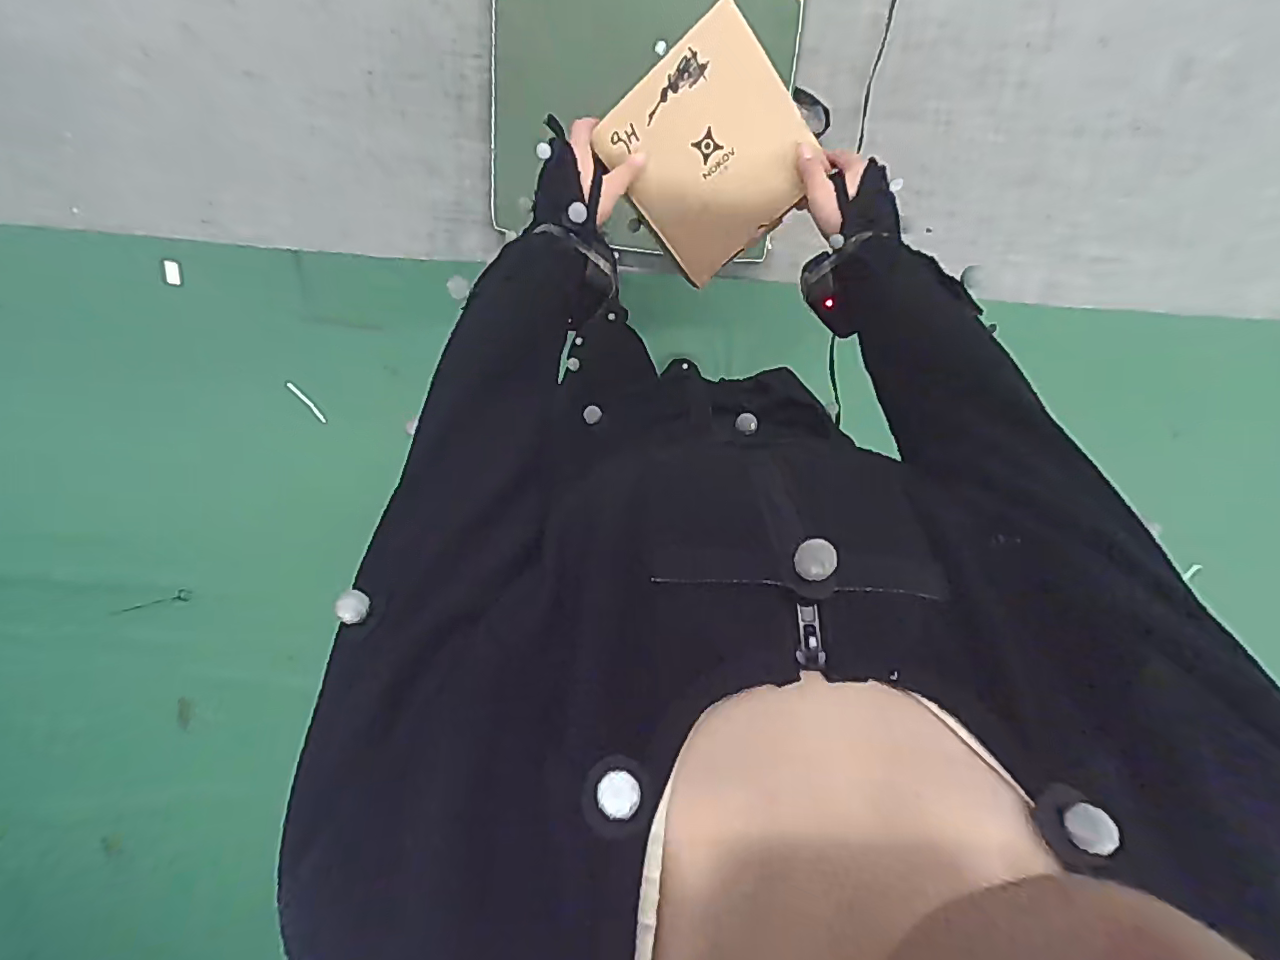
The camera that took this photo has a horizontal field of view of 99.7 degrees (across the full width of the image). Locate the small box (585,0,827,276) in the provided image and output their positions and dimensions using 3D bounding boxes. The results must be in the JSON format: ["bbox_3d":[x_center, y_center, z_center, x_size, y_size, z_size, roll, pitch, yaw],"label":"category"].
[{"bbox_3d":[0.062,-0.350,0.577,0.168,0.176,0.179,-38,111,14],"label":"small box"}]
